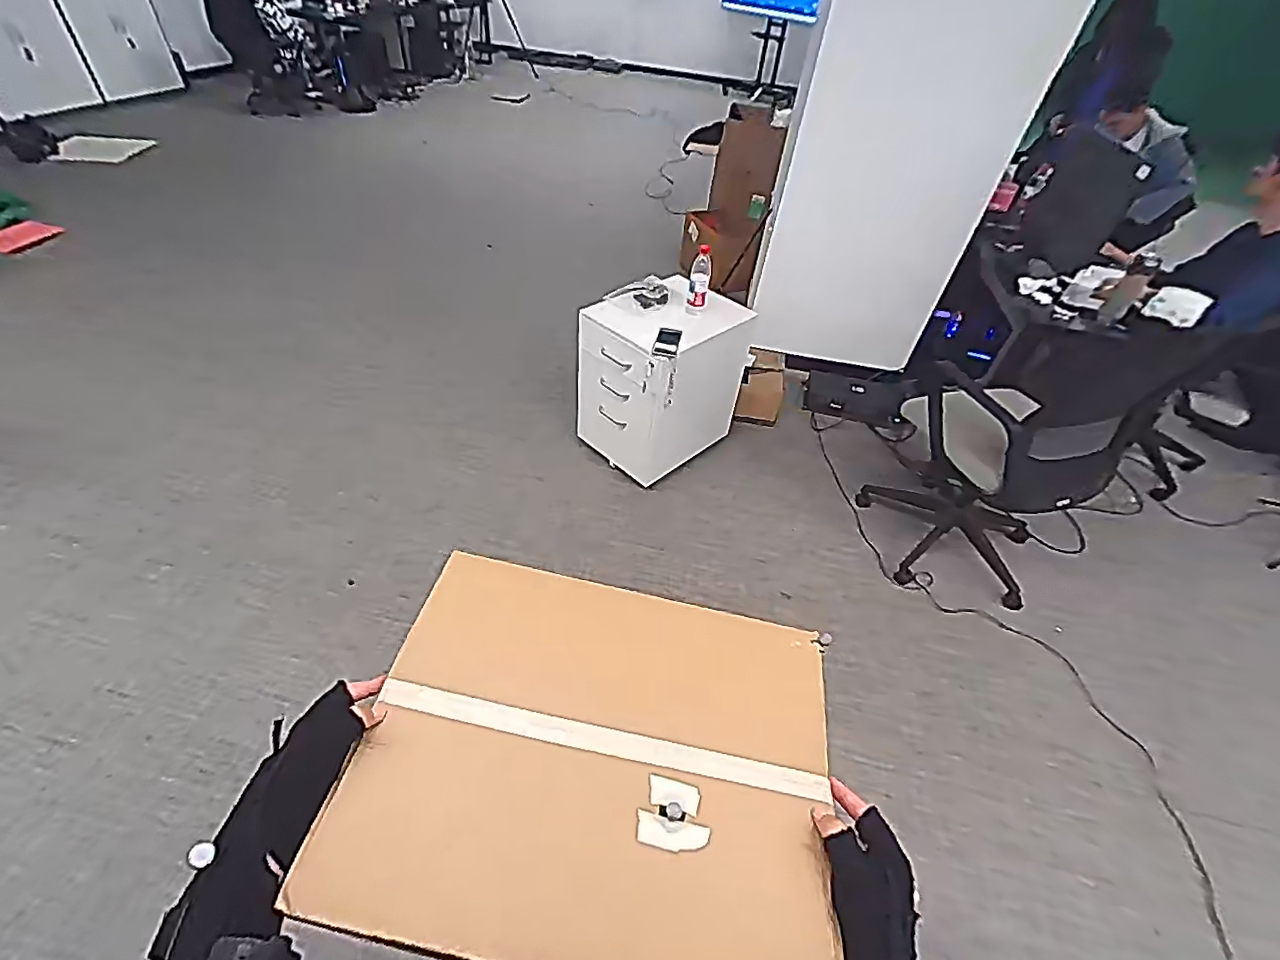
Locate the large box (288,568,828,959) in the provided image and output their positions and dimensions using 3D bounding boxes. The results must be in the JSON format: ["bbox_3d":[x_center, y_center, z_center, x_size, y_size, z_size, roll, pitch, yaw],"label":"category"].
[{"bbox_3d":[-0.058,0.343,0.589,0.408,0.320,0.320,13,47,0],"label":"large box"}]
